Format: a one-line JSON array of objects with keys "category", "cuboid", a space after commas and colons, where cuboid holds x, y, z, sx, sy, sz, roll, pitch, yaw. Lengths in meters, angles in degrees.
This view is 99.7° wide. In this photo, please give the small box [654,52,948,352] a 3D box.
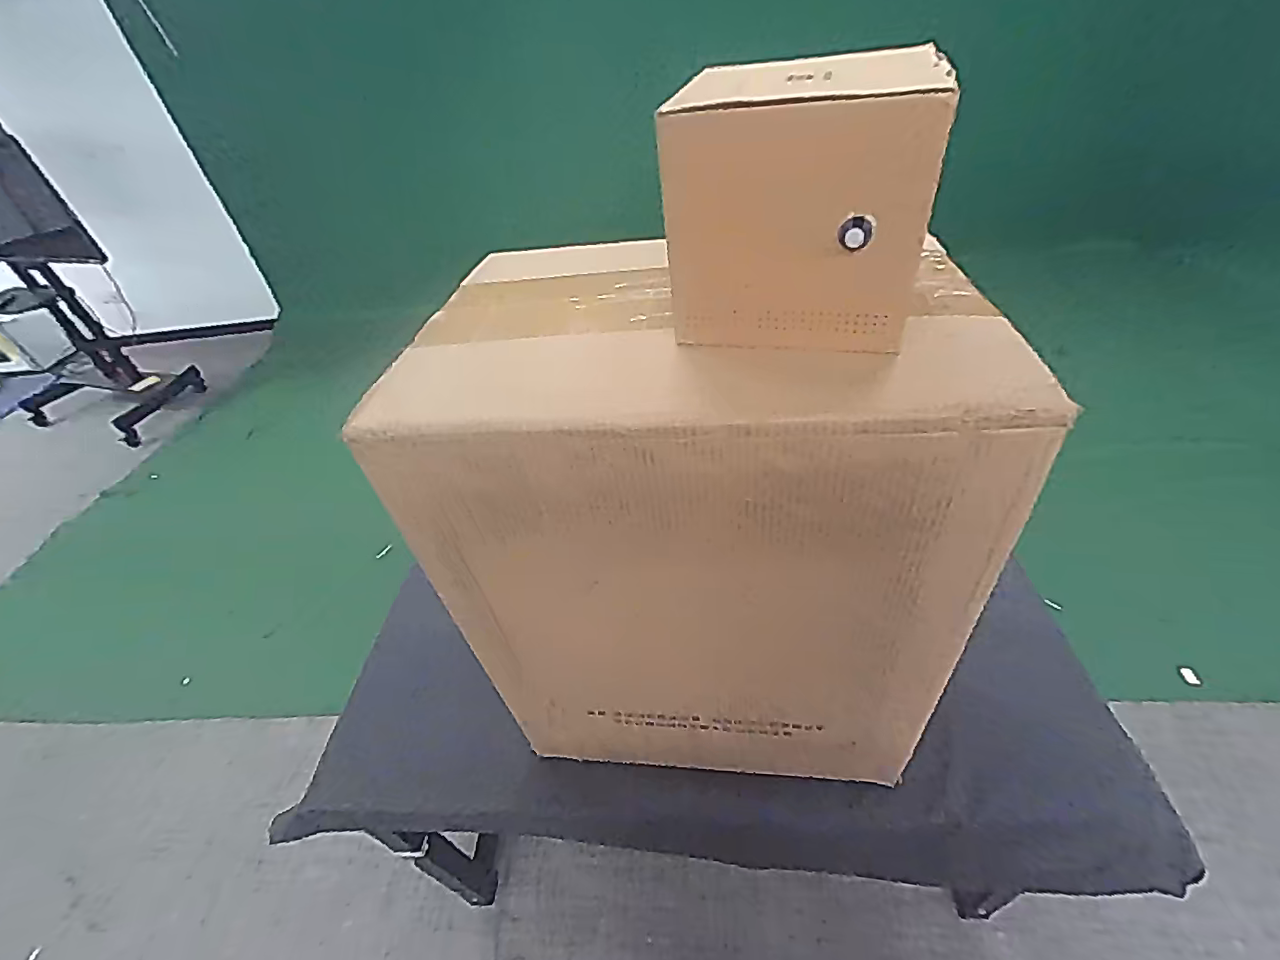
[{"category": "small box", "cuboid": [0.125, -0.216, 0.435, 0.179, 0.176, 0.168, 7, 45, 18]}]
